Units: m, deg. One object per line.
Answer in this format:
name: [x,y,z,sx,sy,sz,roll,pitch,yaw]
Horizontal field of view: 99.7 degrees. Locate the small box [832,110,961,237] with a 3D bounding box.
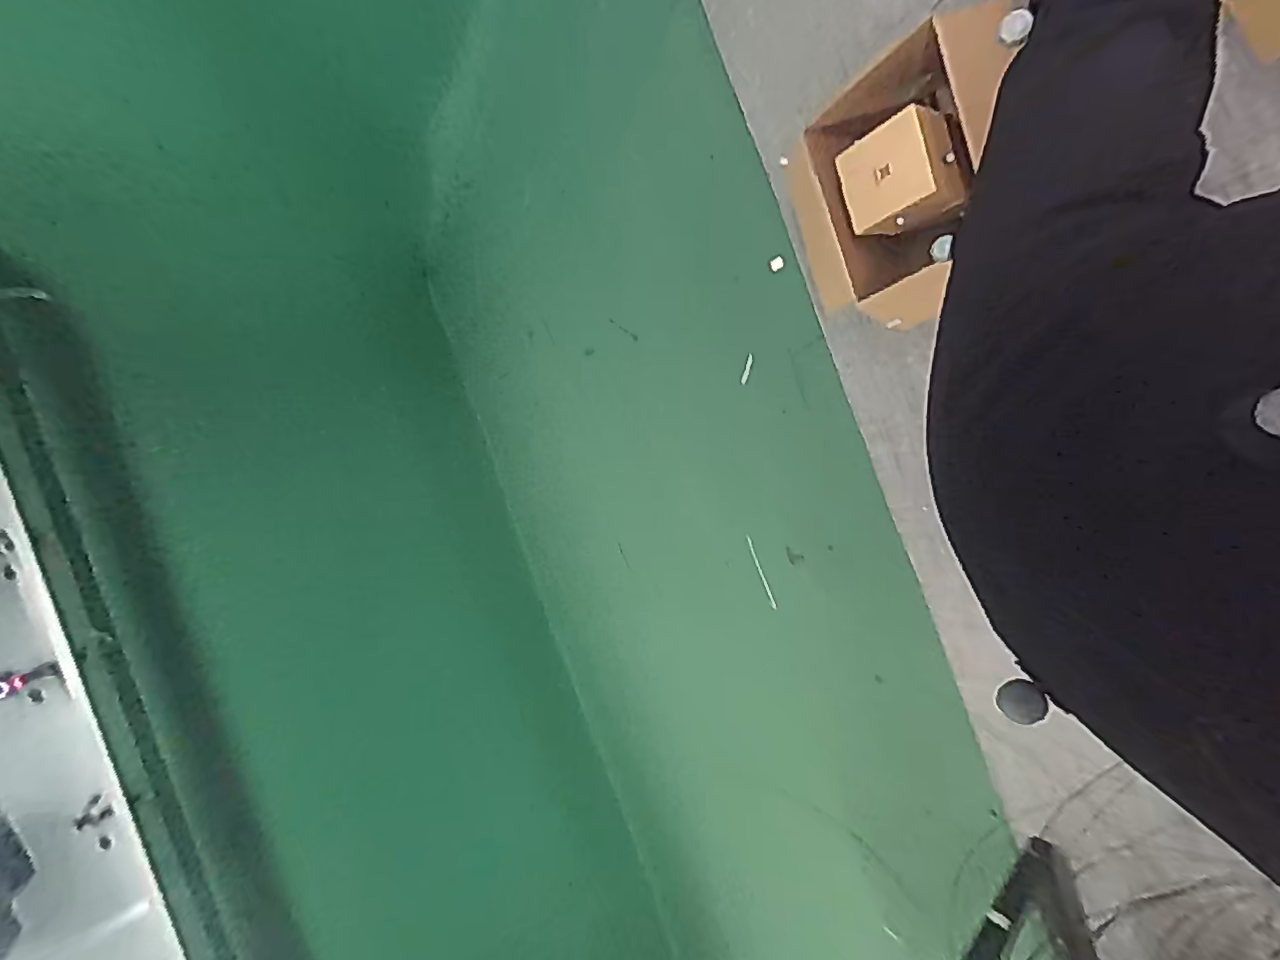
small box: [0.541,-0.630,1.129,0.179,0.176,0.168,-13,96,55]
